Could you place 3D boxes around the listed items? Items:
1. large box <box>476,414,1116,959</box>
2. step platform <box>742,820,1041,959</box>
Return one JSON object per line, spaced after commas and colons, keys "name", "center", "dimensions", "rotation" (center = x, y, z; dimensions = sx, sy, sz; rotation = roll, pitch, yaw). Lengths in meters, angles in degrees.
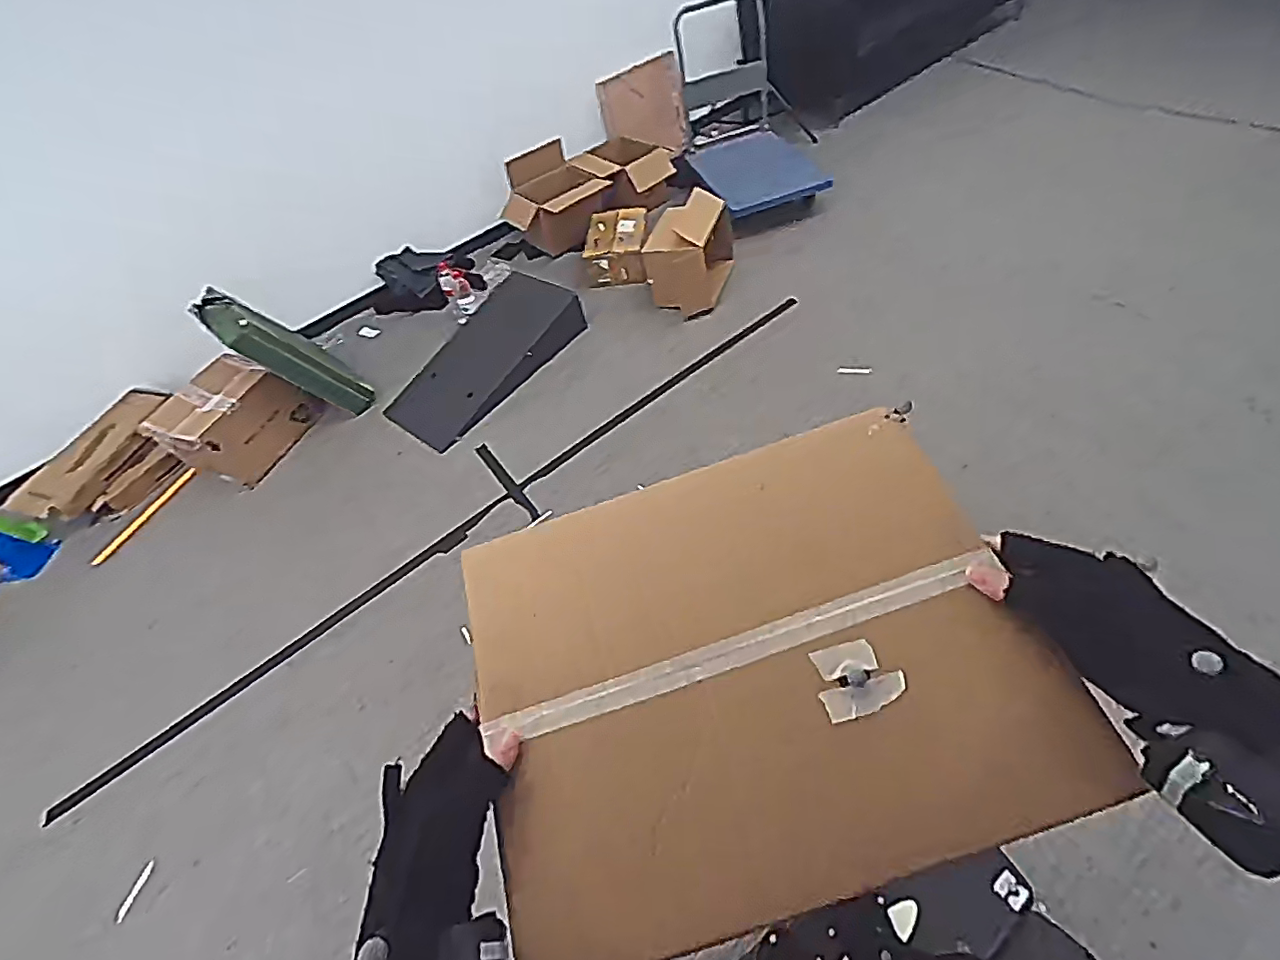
{"name": "large box", "center": [0.102, 0.199, 0.547], "dimensions": [0.408, 0.320, 0.320], "rotation": [-19, 61, 0]}
{"name": "step platform", "center": [0.501, 0.942, 1.128], "dimensions": [0.684, 0.204, 0.286], "rotation": [-37, 54, -16]}
